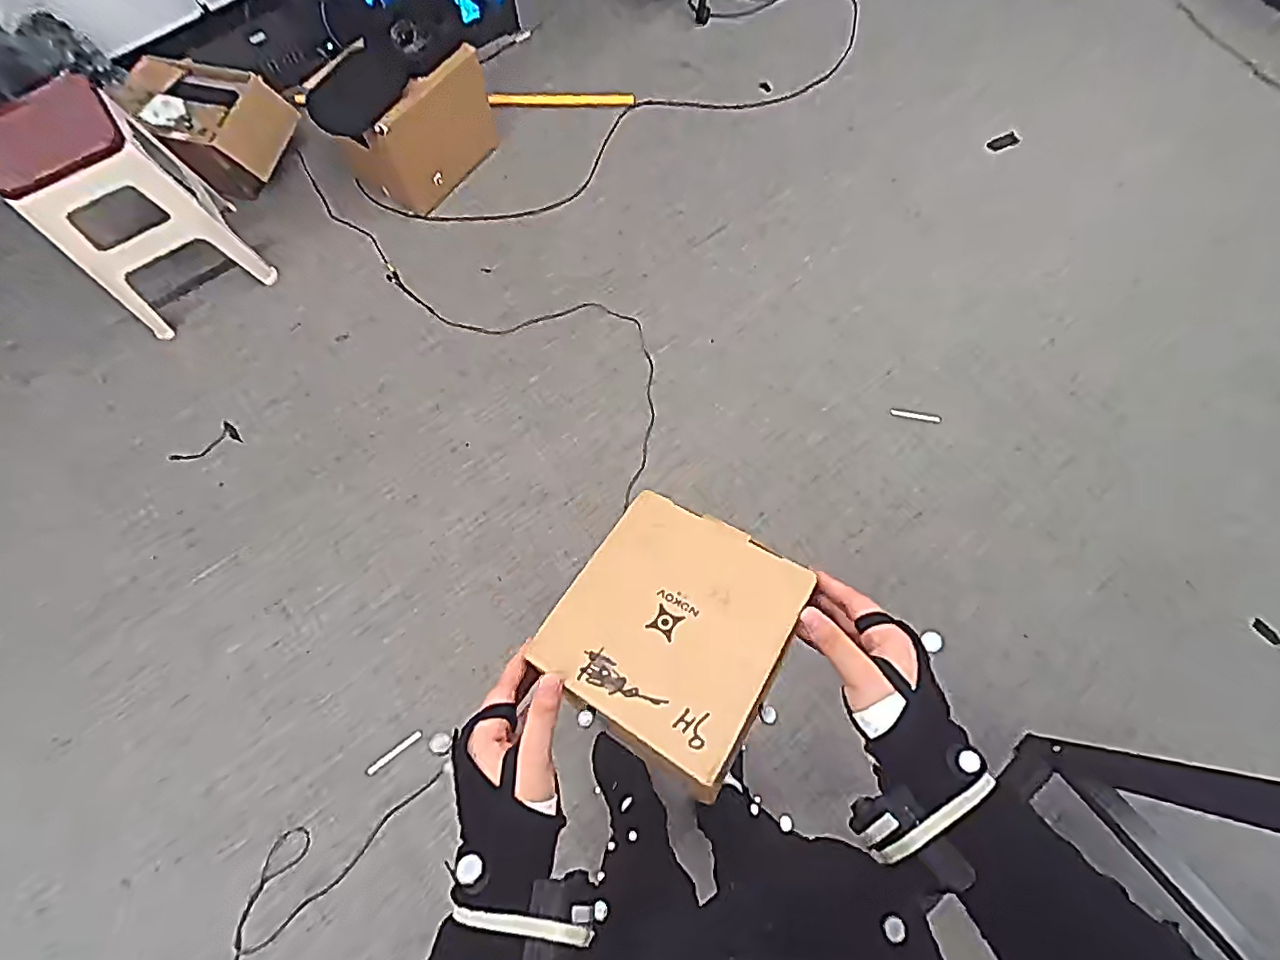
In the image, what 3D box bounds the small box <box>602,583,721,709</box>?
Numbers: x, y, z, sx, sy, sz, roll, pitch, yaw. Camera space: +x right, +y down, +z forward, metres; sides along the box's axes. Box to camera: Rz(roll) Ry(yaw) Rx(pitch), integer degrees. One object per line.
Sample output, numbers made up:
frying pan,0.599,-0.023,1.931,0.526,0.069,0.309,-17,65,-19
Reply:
small box,0.042,0.341,1.111,0.179,0.176,0.168,-43,77,-14
